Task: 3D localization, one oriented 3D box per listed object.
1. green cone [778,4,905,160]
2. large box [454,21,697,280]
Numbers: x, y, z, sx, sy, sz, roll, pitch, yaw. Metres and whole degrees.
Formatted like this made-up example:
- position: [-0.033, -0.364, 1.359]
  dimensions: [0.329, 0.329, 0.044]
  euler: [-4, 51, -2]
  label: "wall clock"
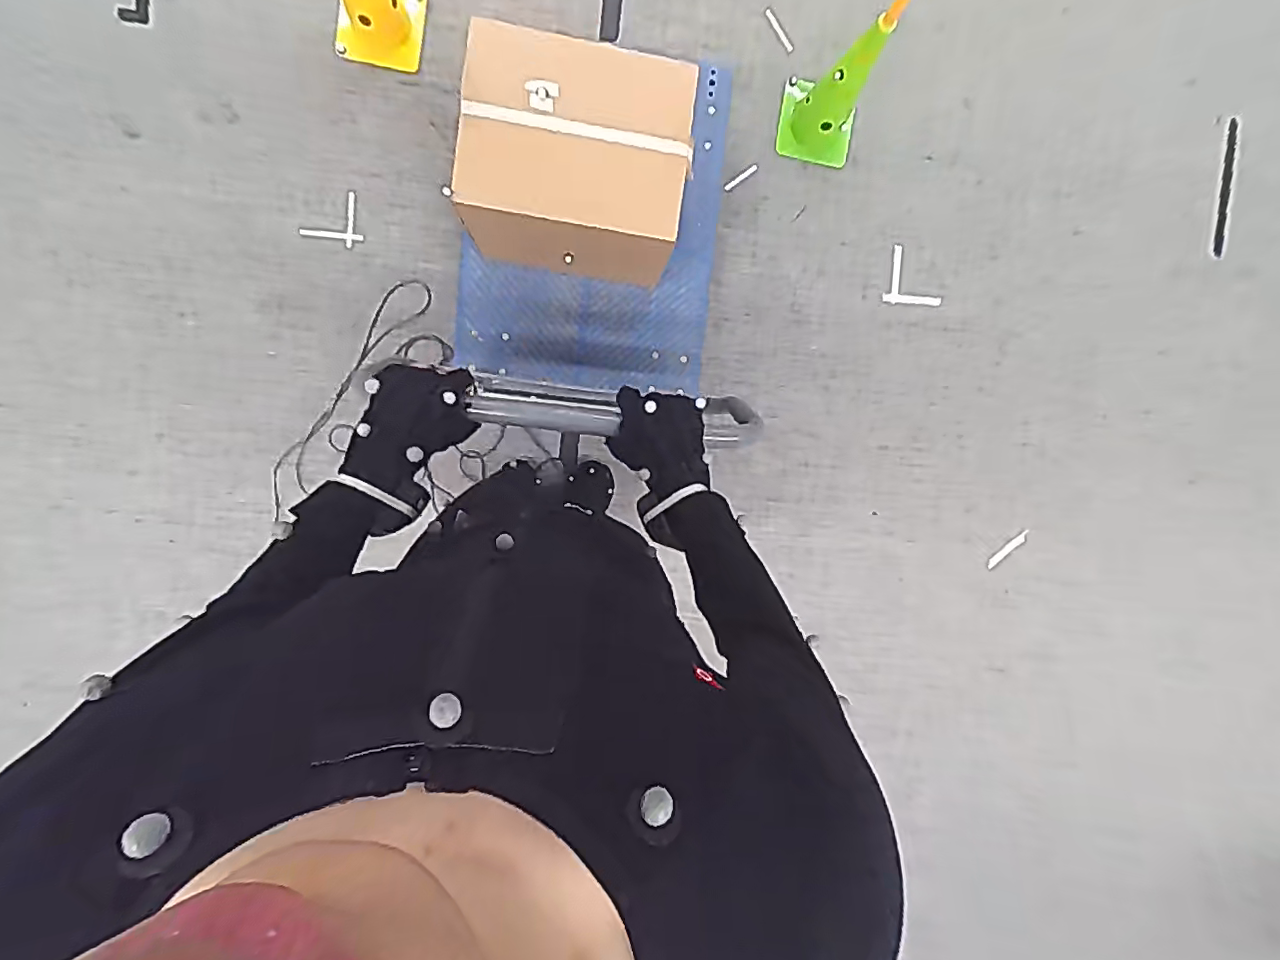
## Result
- position: [0.497, -0.963, 1.281]
  dimensions: [0.202, 0.368, 0.200]
  euler: [9, 93, -7]
  label: "green cone"
- position: [-0.123, -0.627, 1.100]
  dimensions: [0.408, 0.320, 0.320]
  euler: [8, 94, -5]
  label: "large box"
